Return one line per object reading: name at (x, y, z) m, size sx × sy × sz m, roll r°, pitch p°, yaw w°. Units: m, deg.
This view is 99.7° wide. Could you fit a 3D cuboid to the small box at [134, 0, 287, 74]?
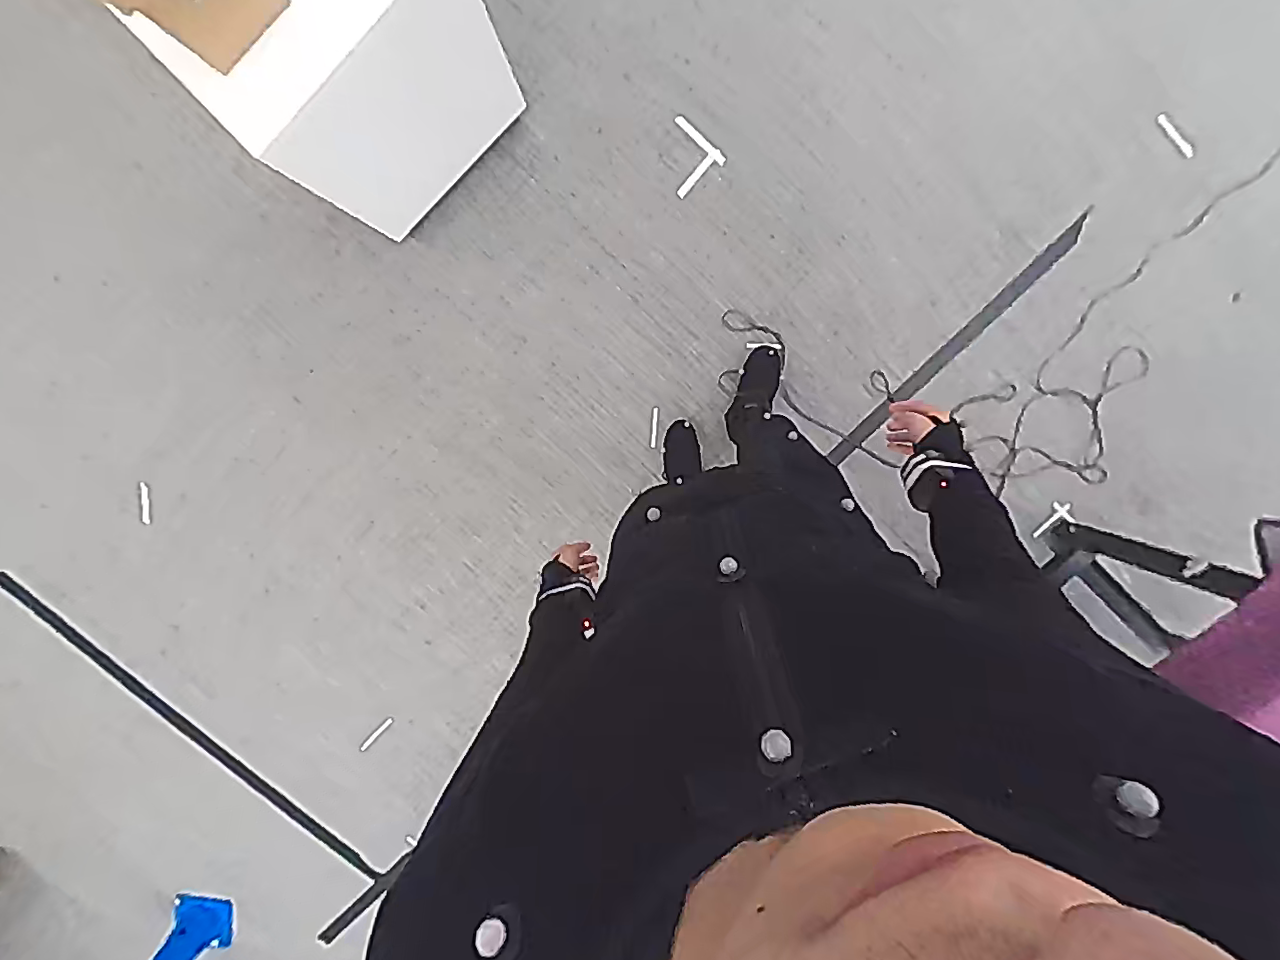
small box at (-0.705, -0.795, 0.840) m, size 0.179 × 0.176 × 0.168 m, roll -42°, pitch 96°, yaw 6°
